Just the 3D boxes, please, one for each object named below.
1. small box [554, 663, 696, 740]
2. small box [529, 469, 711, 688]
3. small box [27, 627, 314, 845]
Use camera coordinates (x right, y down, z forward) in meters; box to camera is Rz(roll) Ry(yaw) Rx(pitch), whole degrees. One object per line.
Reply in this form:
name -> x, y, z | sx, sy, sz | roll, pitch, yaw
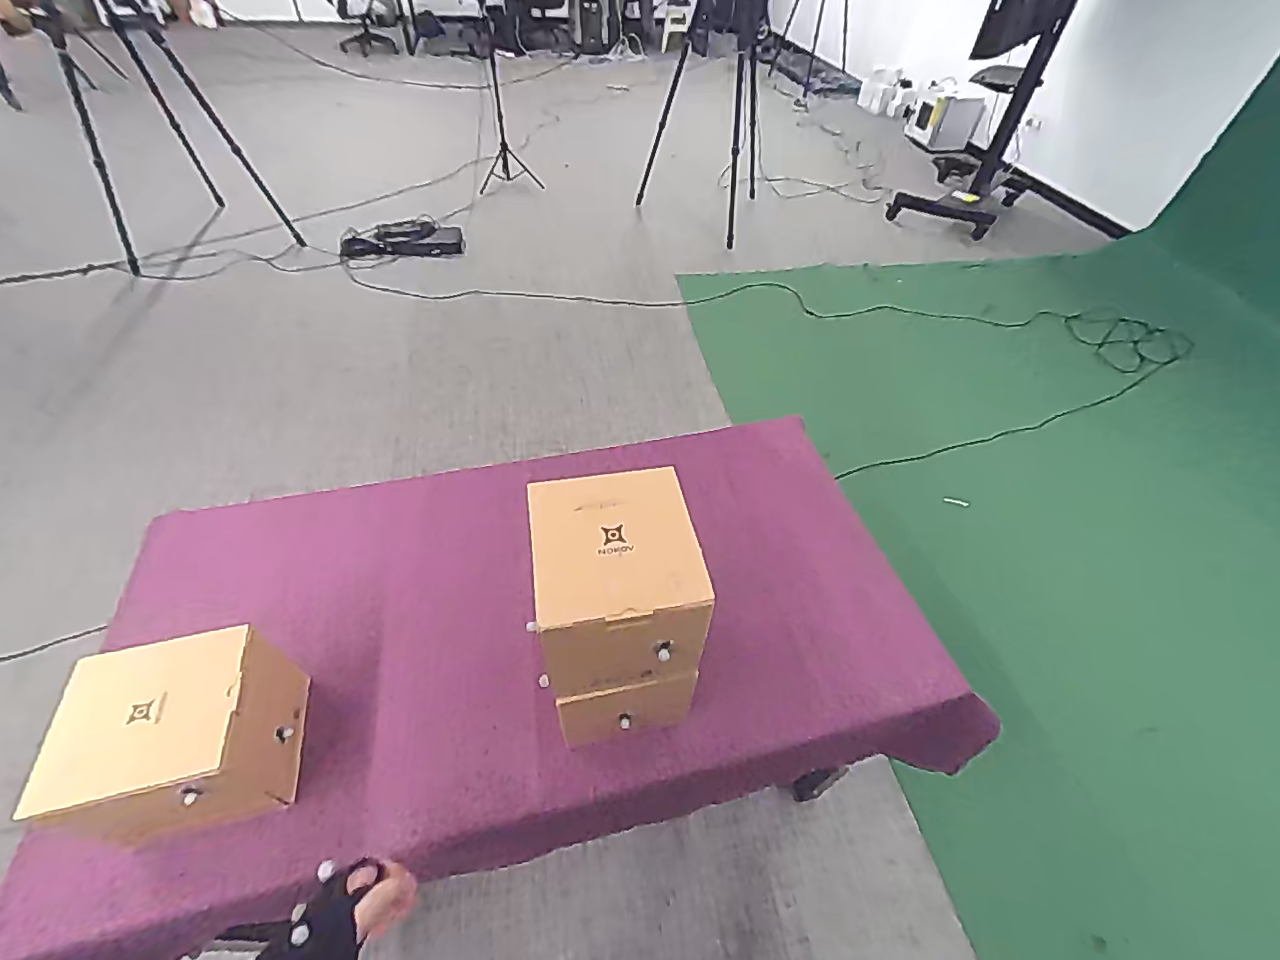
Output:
small box -> -0.031, 0.227, 0.721 | 0.168, 0.176, 0.179 | -9, 48, -10
small box -> -0.028, 0.114, 0.603 | 0.168, 0.176, 0.179 | -7, 48, -8
small box -> -0.522, 0.303, 0.638 | 0.179, 0.176, 0.168 | -10, 49, -12
